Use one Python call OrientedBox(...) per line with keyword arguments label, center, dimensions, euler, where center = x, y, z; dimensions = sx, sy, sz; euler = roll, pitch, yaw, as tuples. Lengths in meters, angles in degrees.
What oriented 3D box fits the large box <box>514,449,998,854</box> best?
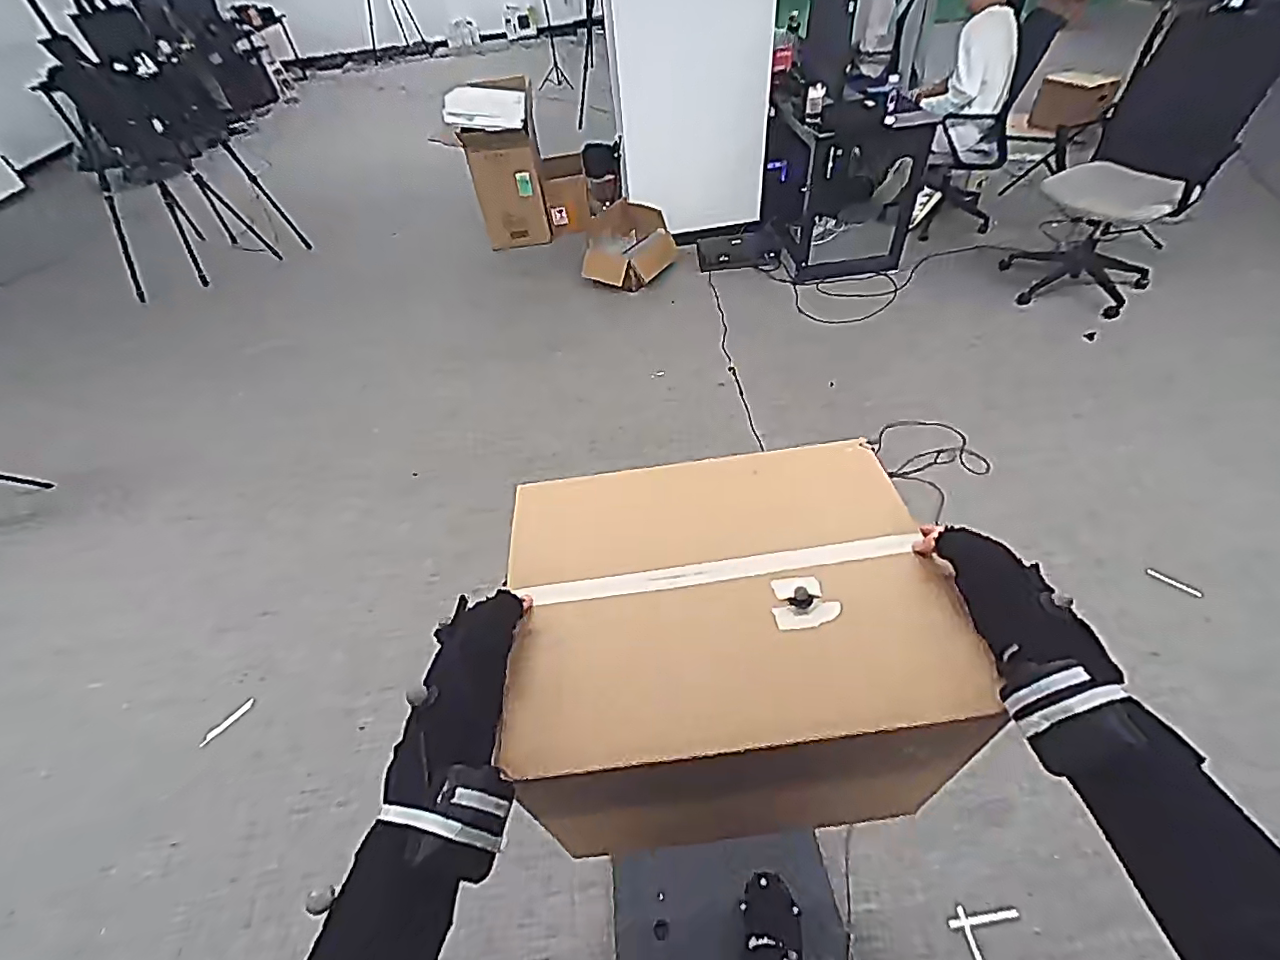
OrientedBox(label="large box", center=(0.091, 0.202, 0.638), dimensions=(0.408, 0.320, 0.320), euler=(-8, 46, 0))
